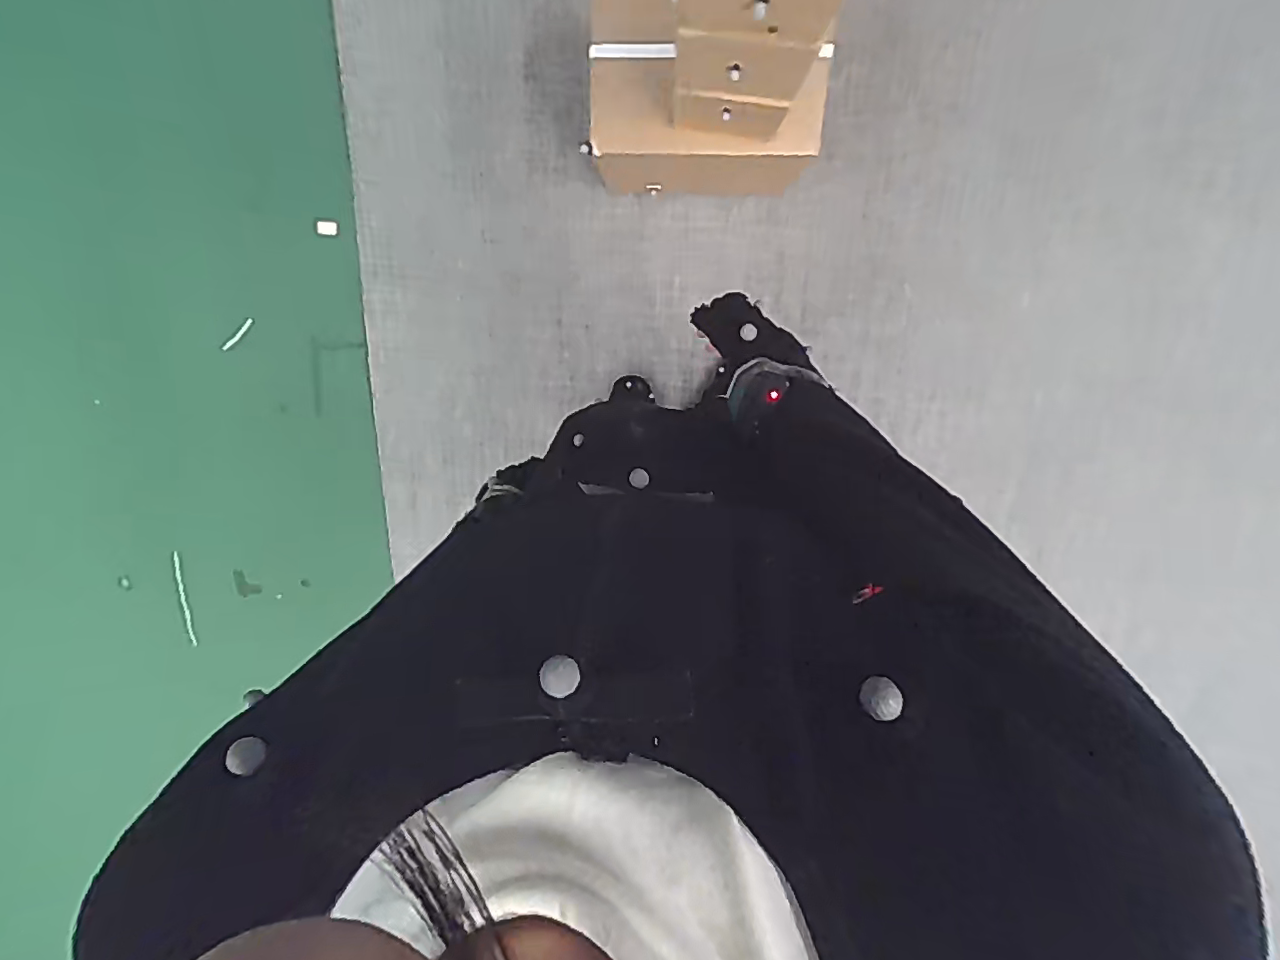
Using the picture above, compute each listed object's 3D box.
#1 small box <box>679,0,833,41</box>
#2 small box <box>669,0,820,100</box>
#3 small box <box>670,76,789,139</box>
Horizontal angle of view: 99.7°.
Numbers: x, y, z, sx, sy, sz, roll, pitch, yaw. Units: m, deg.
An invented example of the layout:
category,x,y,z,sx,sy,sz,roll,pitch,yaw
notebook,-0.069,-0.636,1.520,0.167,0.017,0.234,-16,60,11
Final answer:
category,x,y,z,sx,sy,sz,roll,pitch,yaw
small box,0.129,-0.572,0.530,0.168,0.176,0.179,8,109,2
small box,0.135,-0.612,0.688,0.179,0.176,0.168,8,108,3
small box,0.144,-0.657,0.846,0.179,0.176,0.168,8,108,0
